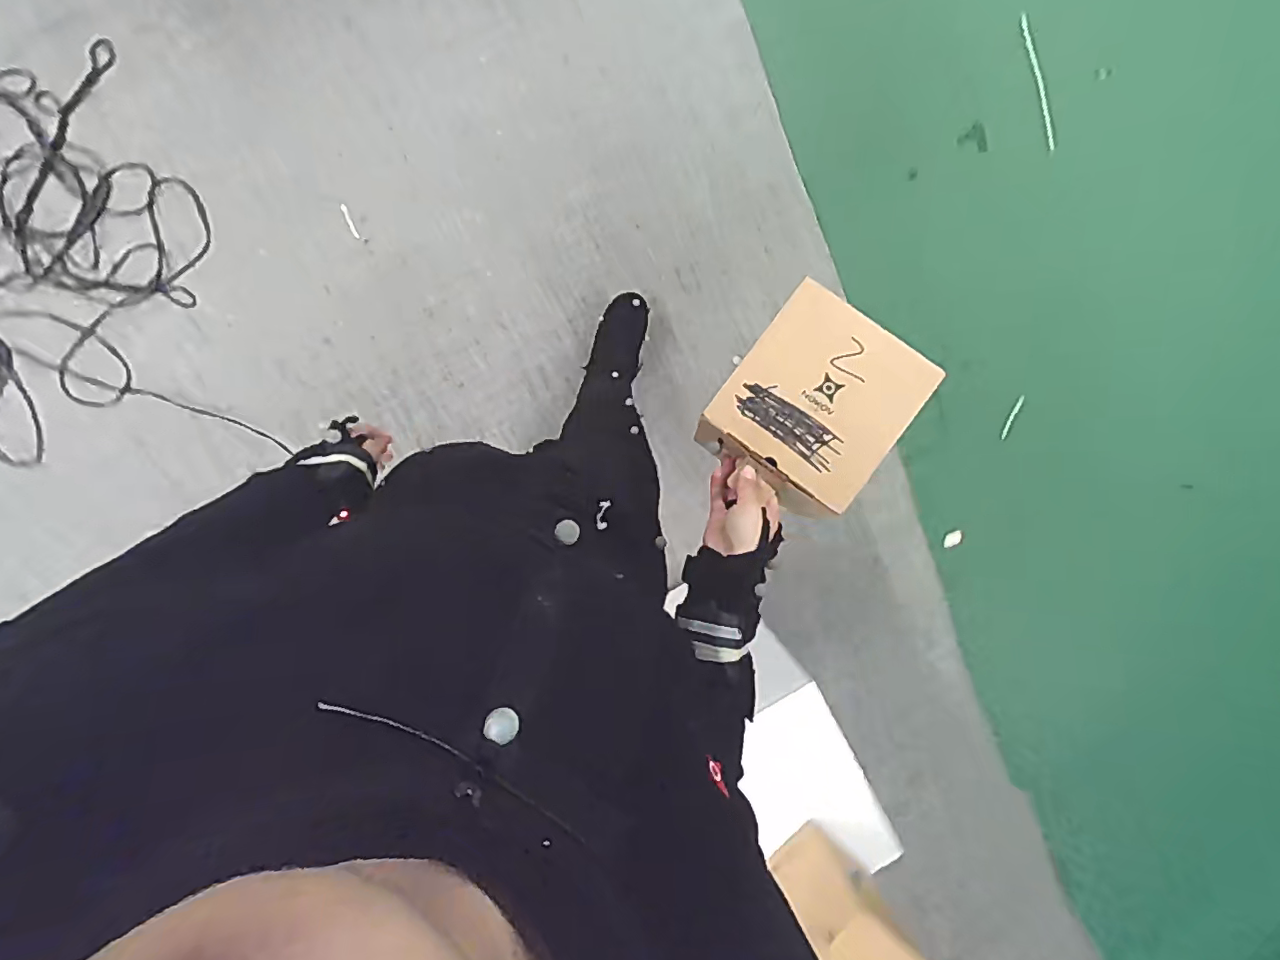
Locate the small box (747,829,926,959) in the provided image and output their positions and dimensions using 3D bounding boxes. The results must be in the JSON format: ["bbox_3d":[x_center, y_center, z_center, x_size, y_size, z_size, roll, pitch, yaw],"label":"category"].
[{"bbox_3d":[0.297,0.696,0.845,0.168,0.176,0.179,-45,104,2],"label":"small box"}]
